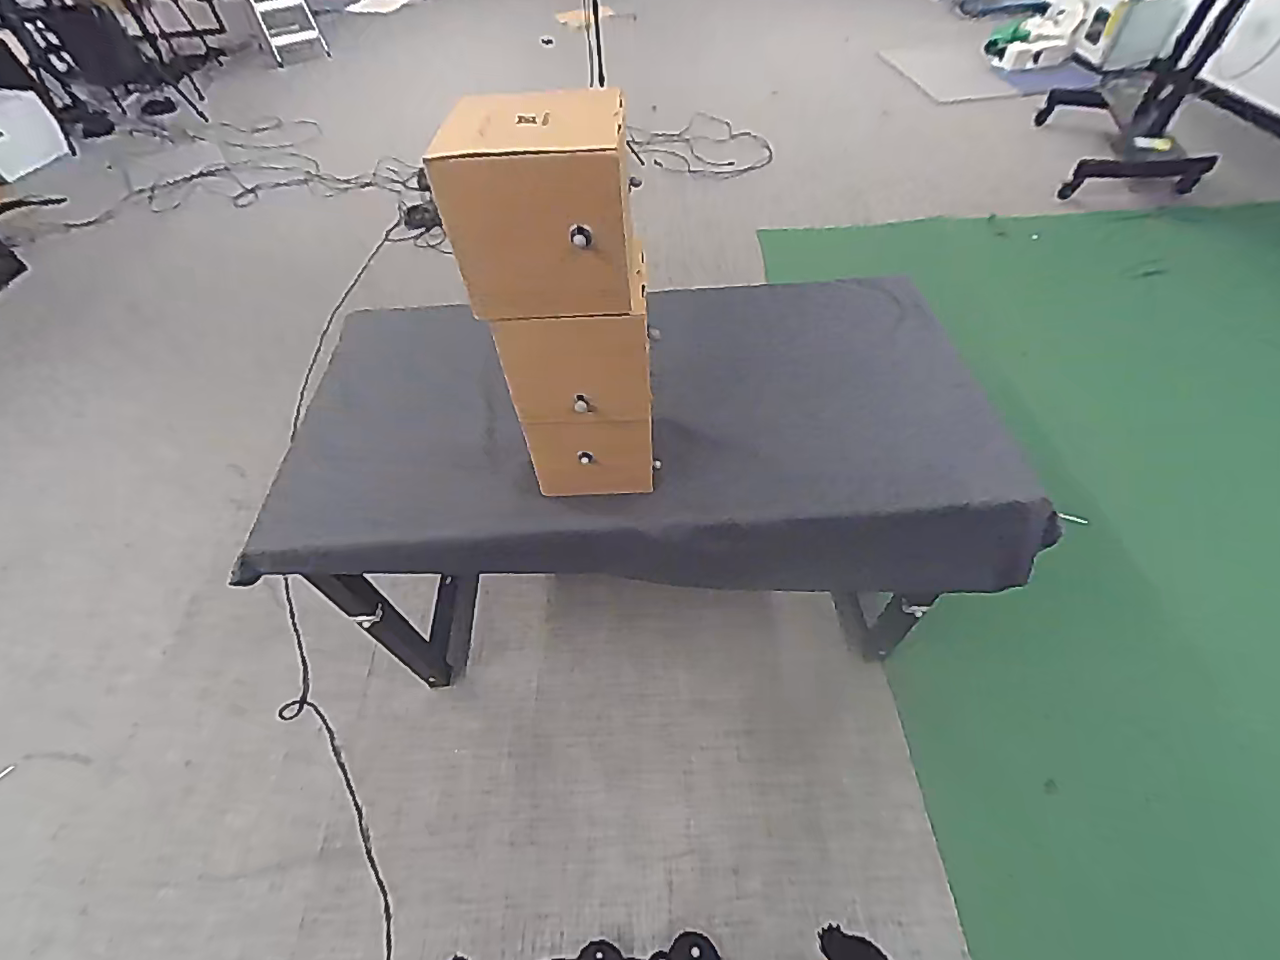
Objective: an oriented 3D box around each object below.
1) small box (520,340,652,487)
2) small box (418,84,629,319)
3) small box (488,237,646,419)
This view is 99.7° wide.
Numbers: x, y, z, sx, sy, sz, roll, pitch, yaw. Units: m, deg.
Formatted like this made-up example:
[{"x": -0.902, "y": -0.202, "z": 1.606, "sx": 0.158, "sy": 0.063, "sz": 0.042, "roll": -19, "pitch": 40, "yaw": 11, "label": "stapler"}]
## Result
[{"x": -0.071, "y": -0.102, "z": 0.841, "sx": 0.179, "sy": 0.176, "sz": 0.168, "roll": 0, "pitch": 51, "yaw": 3, "label": "small box"}, {"x": -0.104, "y": -0.293, "z": 0.582, "sx": 0.179, "sy": 0.176, "sz": 0.168, "roll": -3, "pitch": 51, "yaw": 3, "label": "small box"}, {"x": -0.080, "y": -0.195, "z": 0.711, "sx": 0.179, "sy": 0.176, "sz": 0.168, "roll": -2, "pitch": 52, "yaw": 2, "label": "small box"}]
